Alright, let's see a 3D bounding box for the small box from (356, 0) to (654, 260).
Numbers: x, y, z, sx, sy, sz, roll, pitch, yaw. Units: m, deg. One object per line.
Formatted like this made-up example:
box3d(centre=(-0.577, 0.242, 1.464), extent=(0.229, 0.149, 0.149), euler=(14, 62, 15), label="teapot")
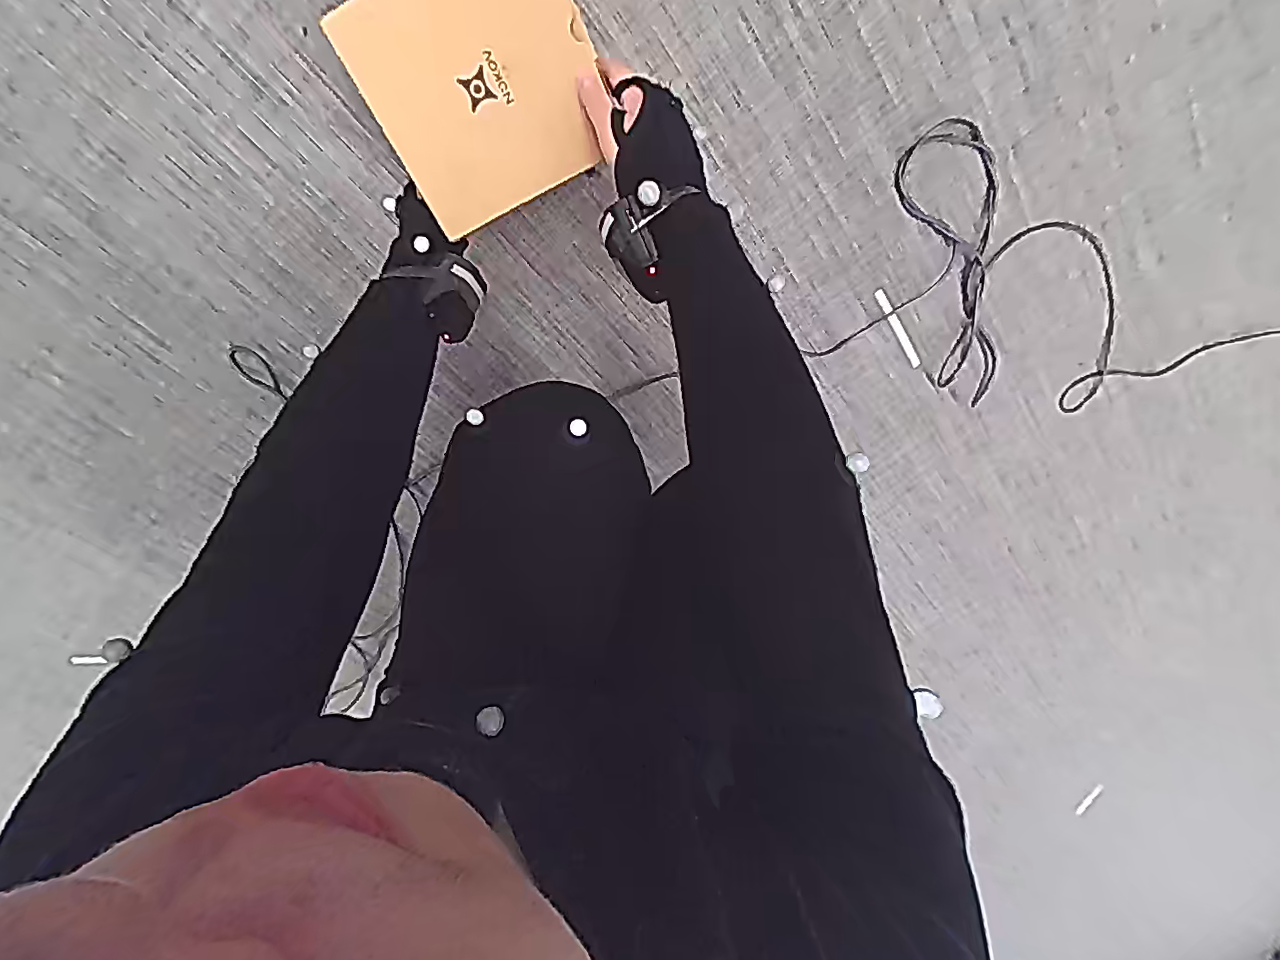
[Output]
box3d(centre=(-0.101, -0.320, 0.444), extent=(0.168, 0.176, 0.179), euler=(-31, 101, -4), label="small box")
